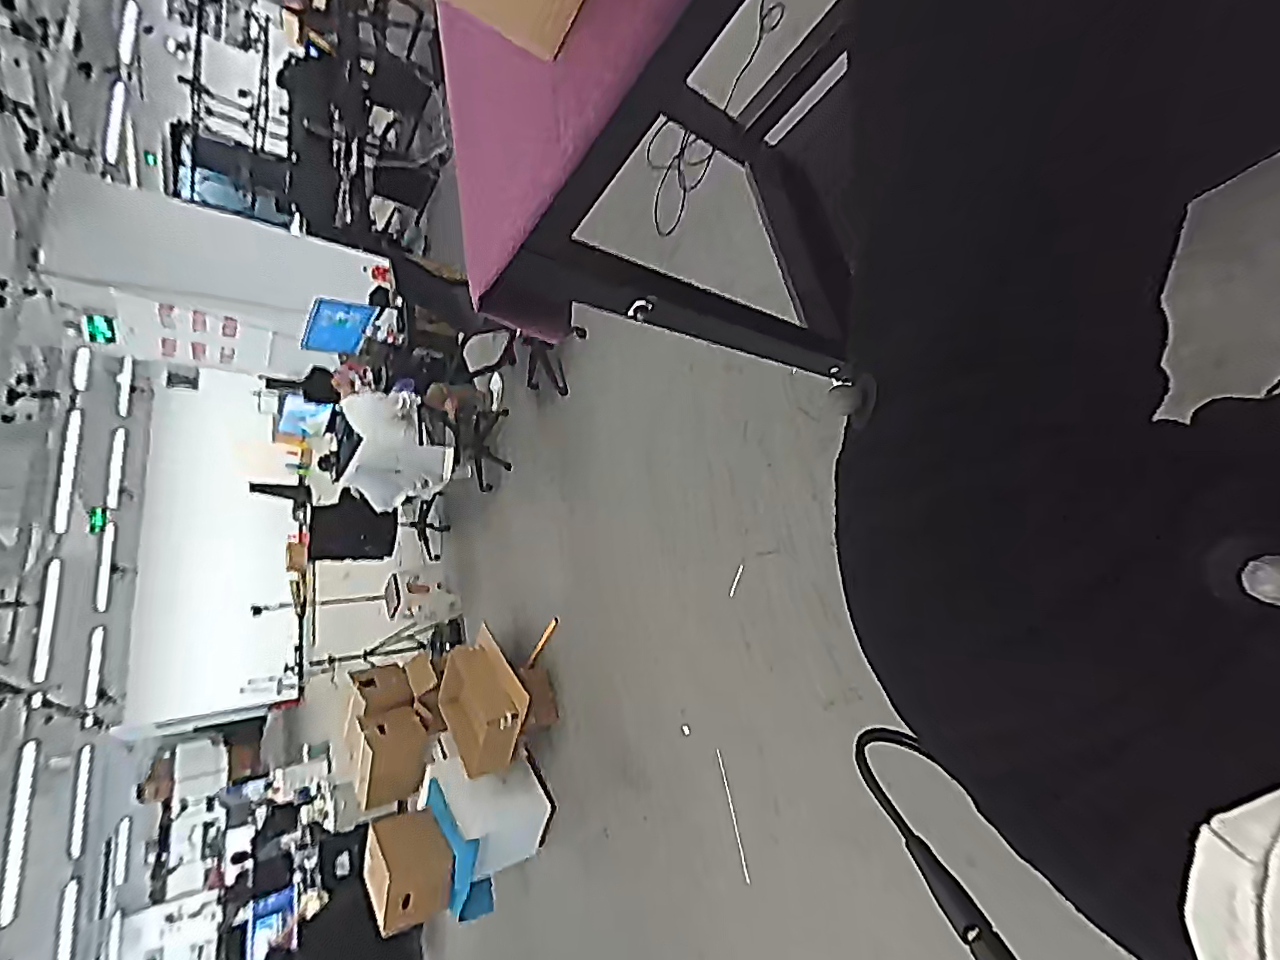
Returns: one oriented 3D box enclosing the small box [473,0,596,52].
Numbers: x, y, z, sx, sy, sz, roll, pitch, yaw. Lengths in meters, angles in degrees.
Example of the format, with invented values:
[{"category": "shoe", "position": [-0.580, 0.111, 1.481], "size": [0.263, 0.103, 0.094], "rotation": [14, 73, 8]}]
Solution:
[{"category": "small box", "position": [-0.097, -0.484, 0.403], "size": [0.179, 0.176, 0.168], "rotation": [-35, 62, 46]}]
